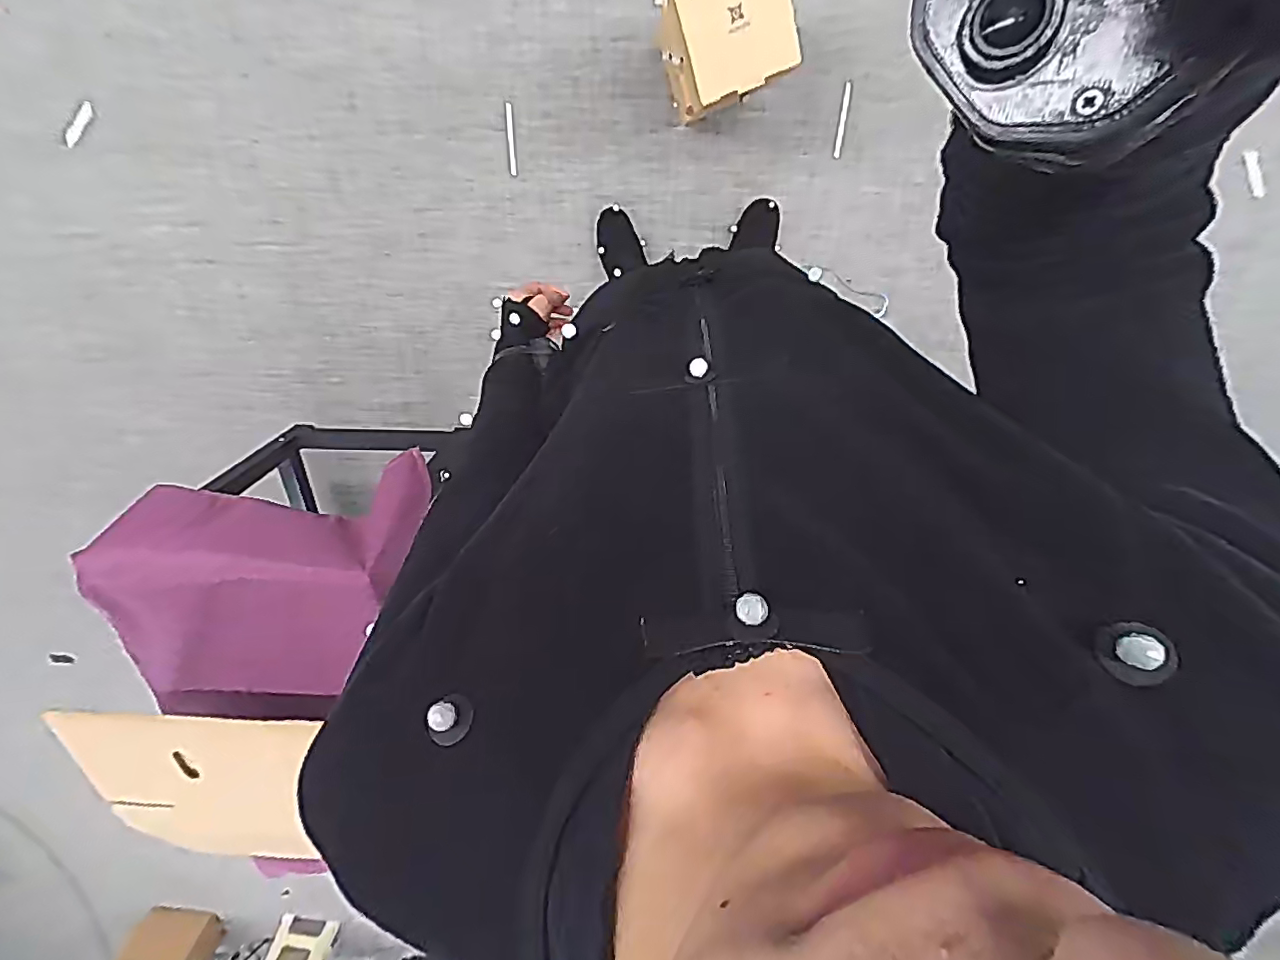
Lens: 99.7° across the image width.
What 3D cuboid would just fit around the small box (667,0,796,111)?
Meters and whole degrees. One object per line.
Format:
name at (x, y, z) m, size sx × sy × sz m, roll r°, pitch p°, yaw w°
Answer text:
small box at (0.147, -0.742, 0.901) m, size 0.168 × 0.176 × 0.179 m, roll -17°, pitch 118°, yaw 10°
